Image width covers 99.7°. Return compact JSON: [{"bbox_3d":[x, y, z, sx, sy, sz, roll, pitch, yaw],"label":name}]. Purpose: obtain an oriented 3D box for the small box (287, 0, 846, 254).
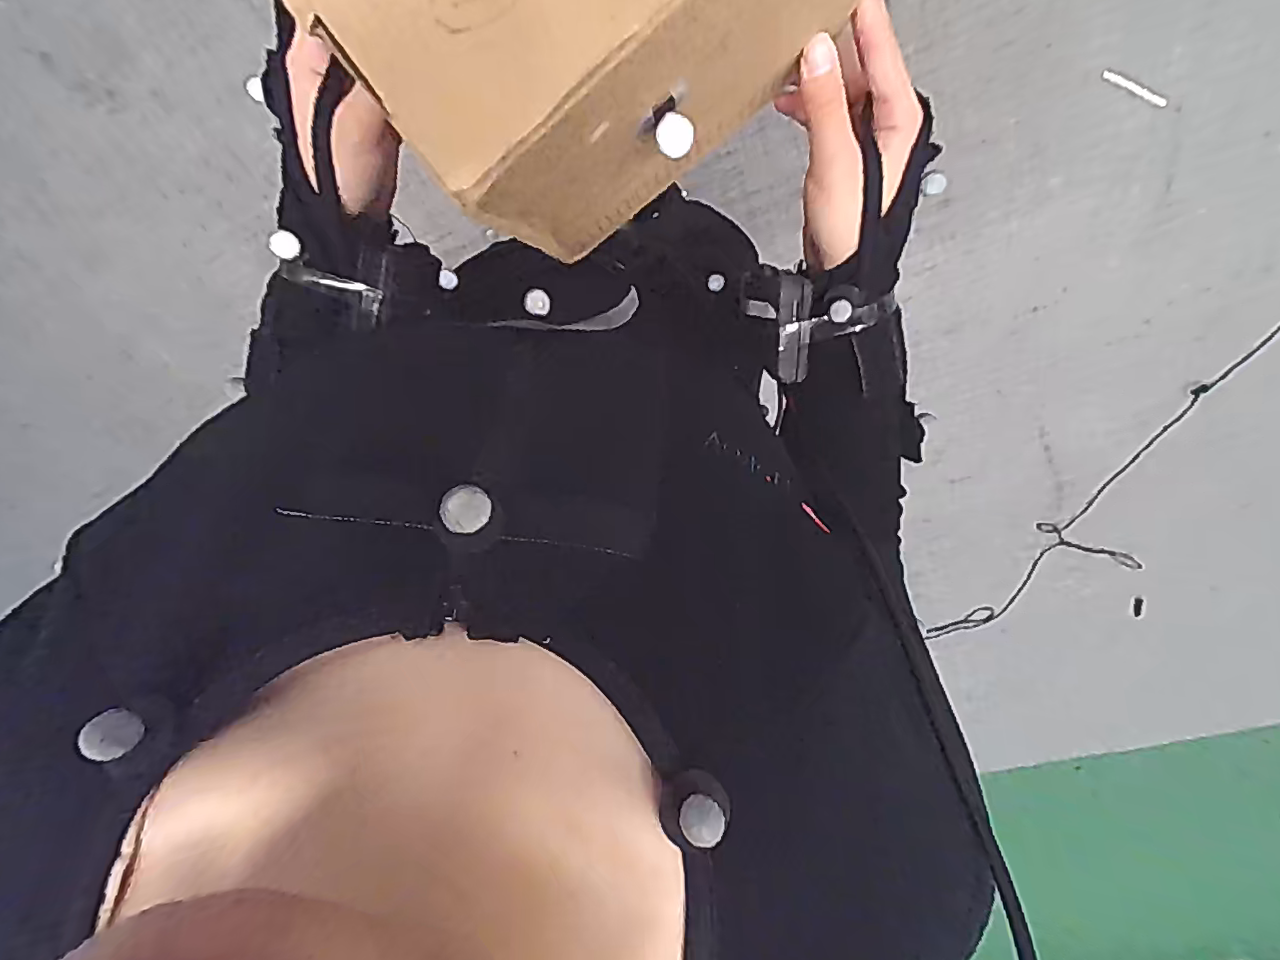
[{"bbox_3d":[-0.025,-0.210,0.202,0.179,0.176,0.168,-34,101,14],"label":"small box"}]
